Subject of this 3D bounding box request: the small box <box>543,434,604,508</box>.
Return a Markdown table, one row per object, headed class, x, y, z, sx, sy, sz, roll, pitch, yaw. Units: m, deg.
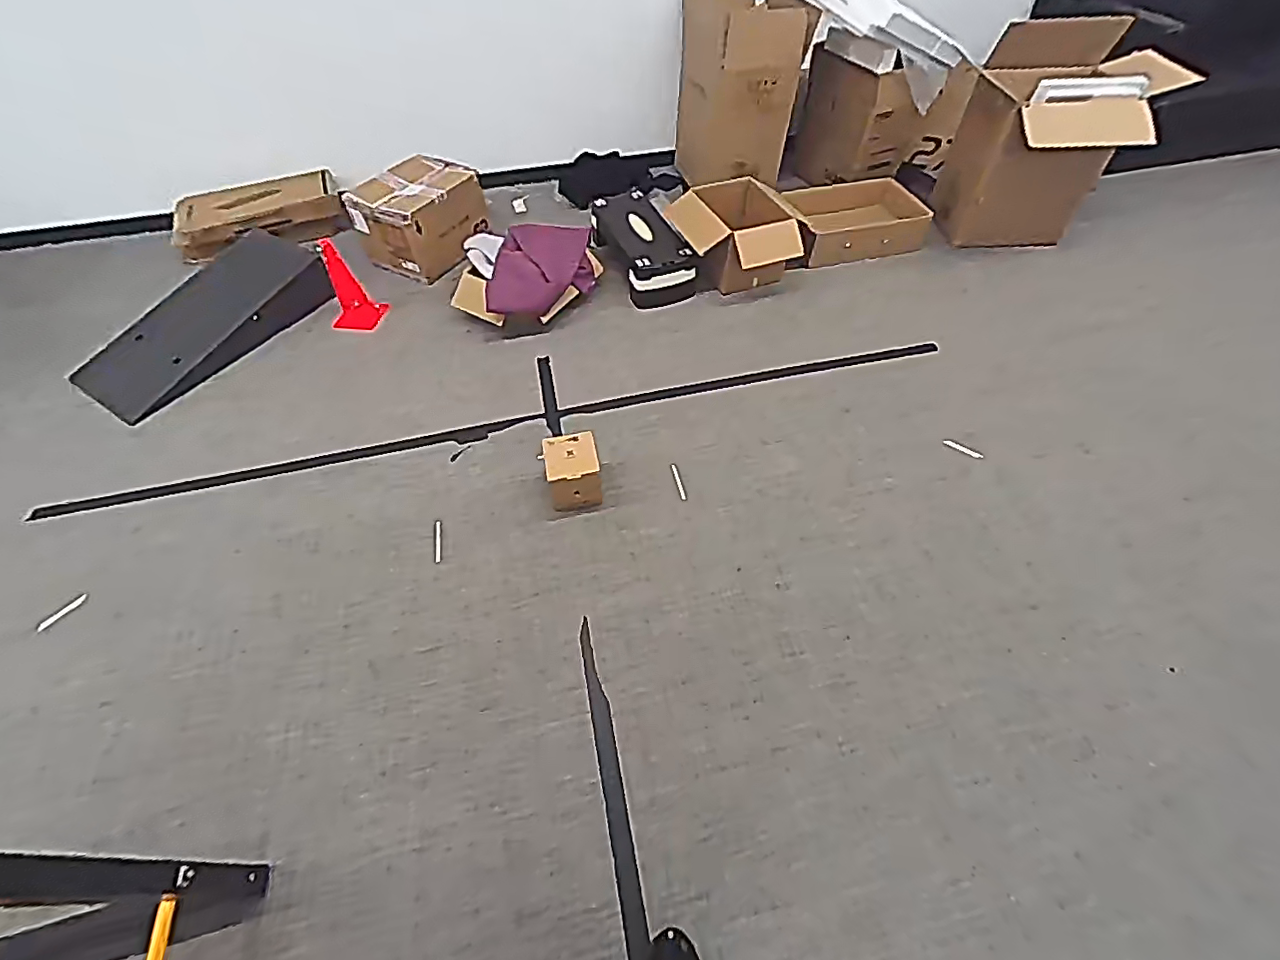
| class | x | y | z | sx | sy | sz | roll | pitch | yaw |
| --- | --- | --- | --- | --- | --- | --- | --- | --- | --- |
| small box | -0.214 | -0.022 | 1.764 | 0.168 | 0.176 | 0.179 | -10 | 54 | -6 |
